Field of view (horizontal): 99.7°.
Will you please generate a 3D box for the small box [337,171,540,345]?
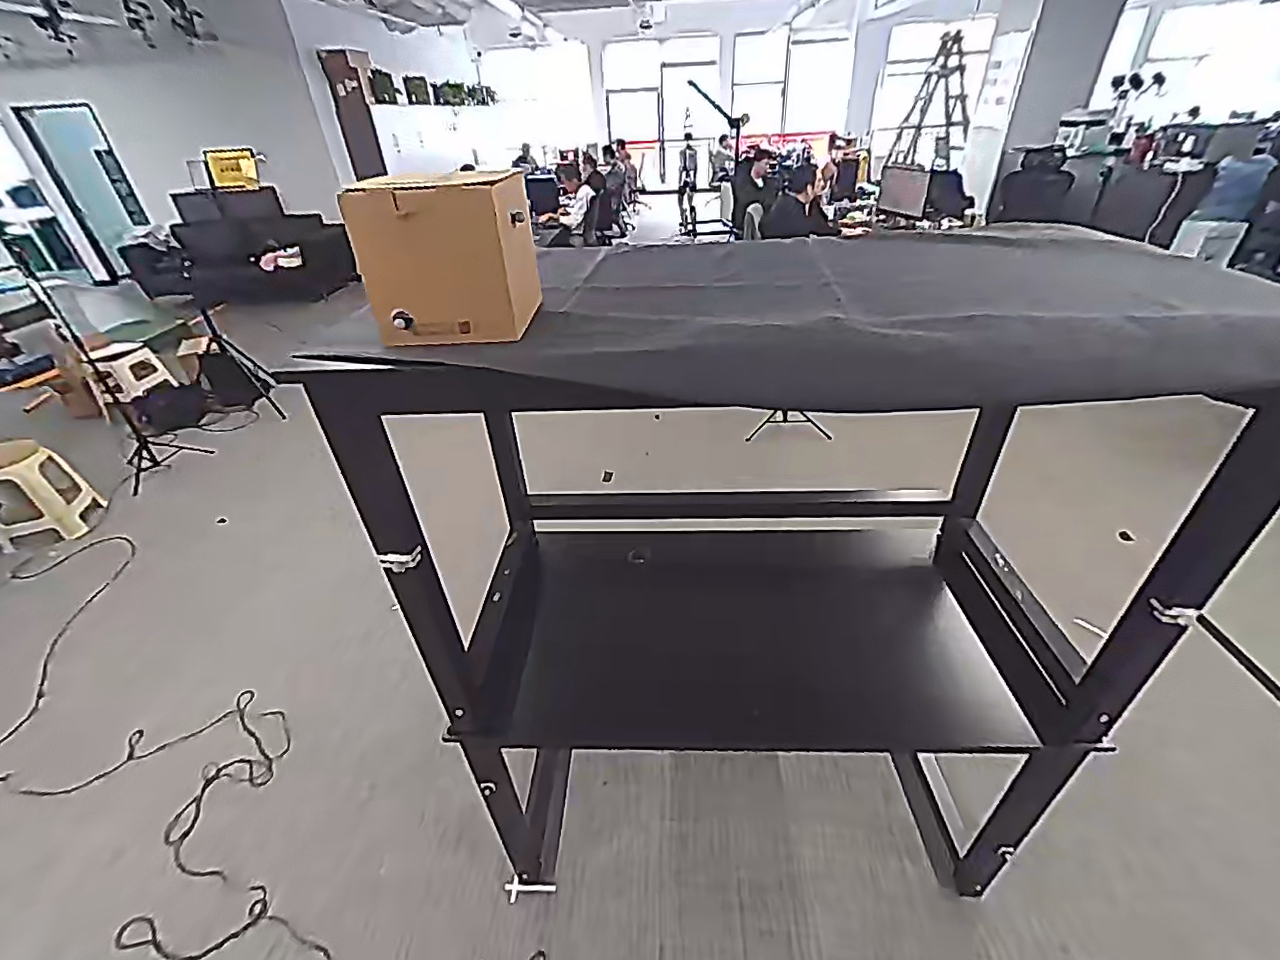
[{"bbox_3d":[-0.225,-0.271,0.664,0.168,0.176,0.179,-1,34,2],"label":"small box"}]
